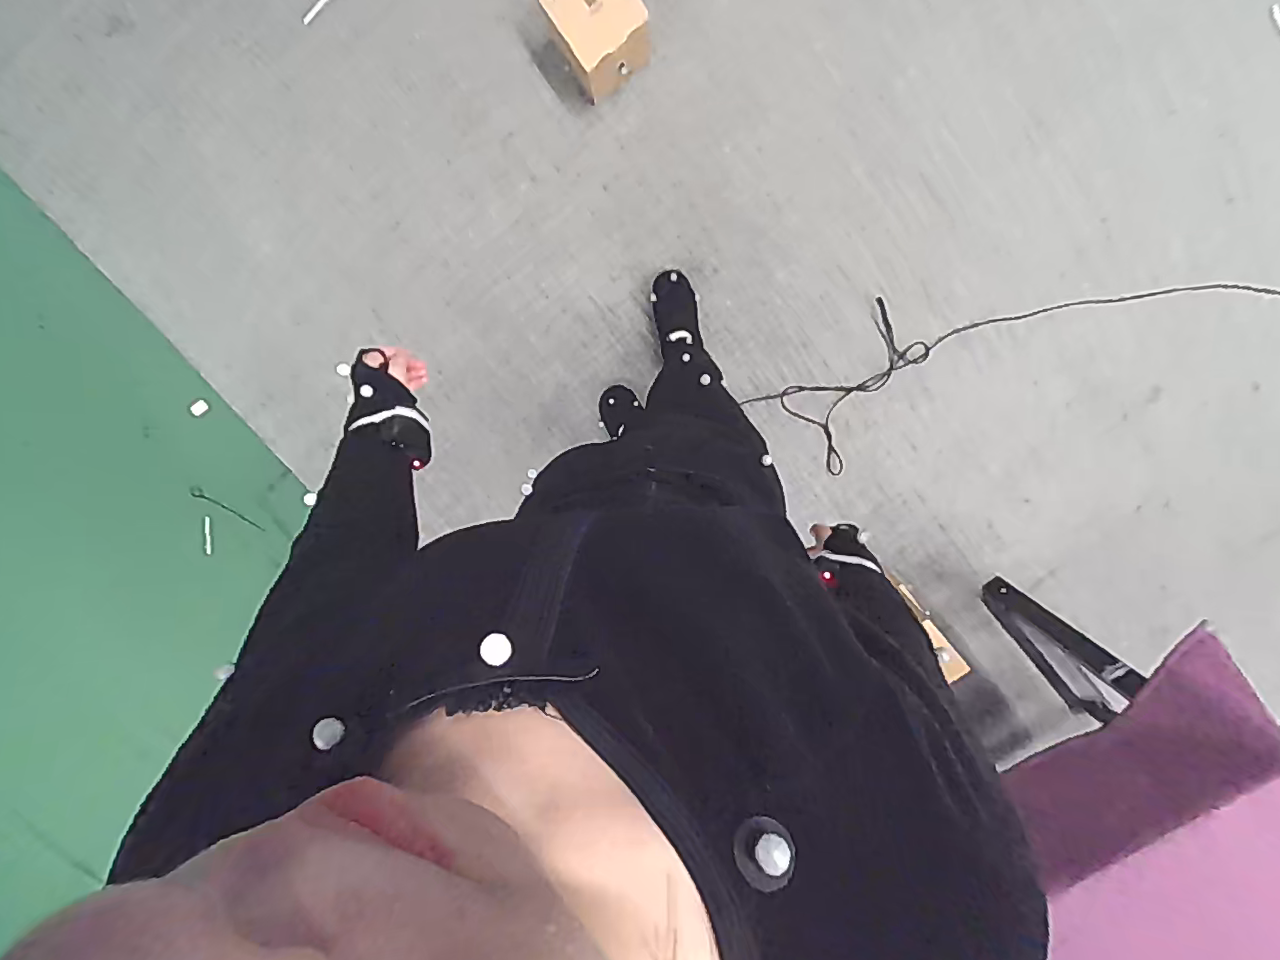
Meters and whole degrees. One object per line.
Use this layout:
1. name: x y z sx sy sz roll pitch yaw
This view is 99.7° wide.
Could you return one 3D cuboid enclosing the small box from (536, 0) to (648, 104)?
1. small box: -0.093 -0.960 1.172 0.168 0.176 0.179 -35 101 9
